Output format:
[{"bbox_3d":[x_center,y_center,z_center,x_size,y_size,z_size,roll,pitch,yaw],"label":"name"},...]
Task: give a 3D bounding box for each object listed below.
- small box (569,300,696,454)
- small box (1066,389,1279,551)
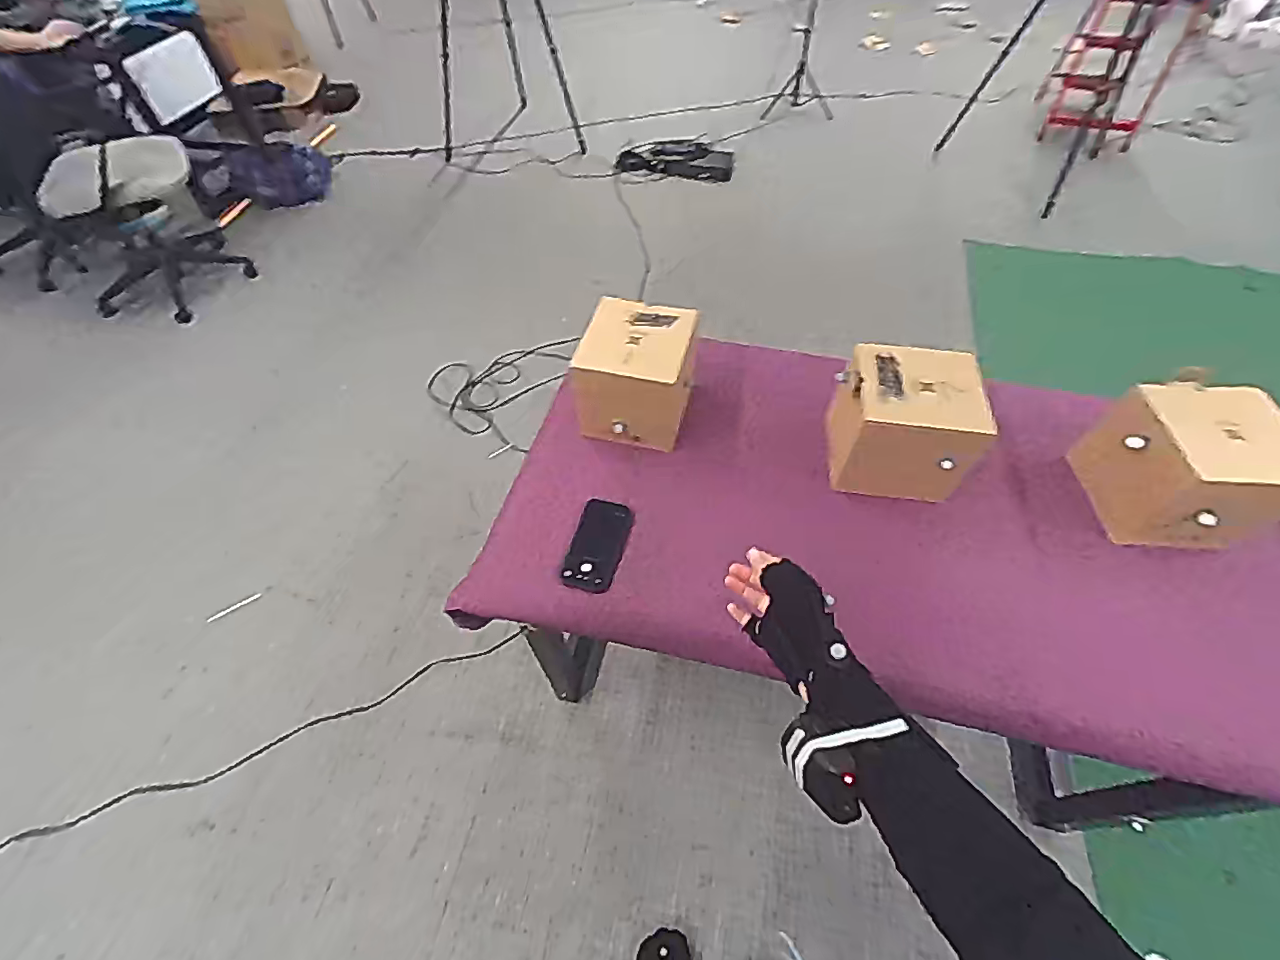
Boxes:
[{"bbox_3d":[-0.008,-0.172,0.914,0.168,0.176,0.179,12,57,10],"label":"small box"},{"bbox_3d":[0.779,-0.011,0.785,0.168,0.176,0.179,2,53,3],"label":"small box"}]
